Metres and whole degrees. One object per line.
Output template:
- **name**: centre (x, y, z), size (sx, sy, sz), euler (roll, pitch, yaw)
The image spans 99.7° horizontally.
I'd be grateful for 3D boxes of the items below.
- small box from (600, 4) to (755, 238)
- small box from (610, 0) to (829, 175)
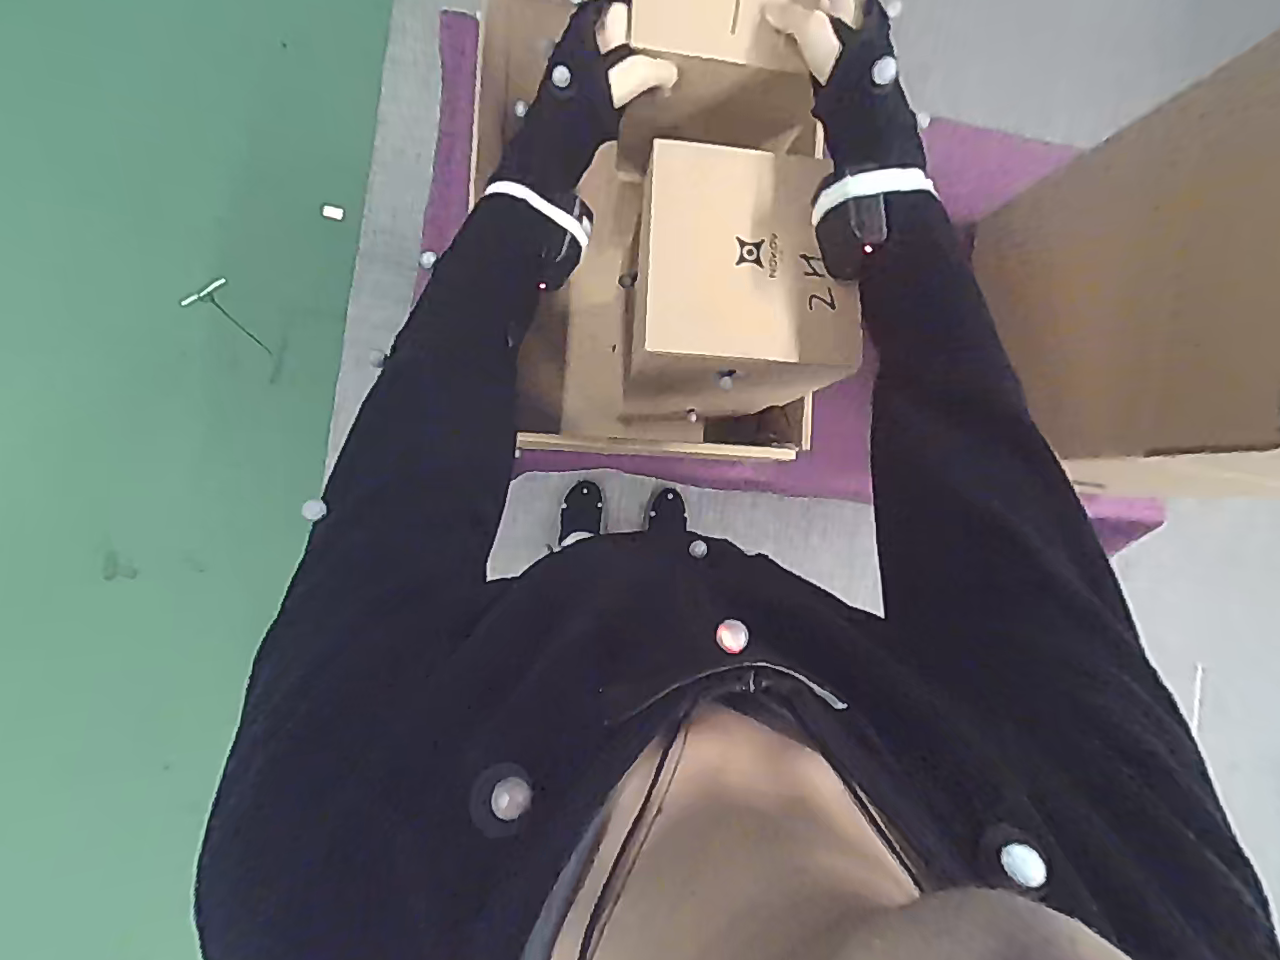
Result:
- **small box**: centre (0.039, -0.417, 0.660), size (0.168, 0.176, 0.179), euler (0, 91, -7)
- **small box**: centre (0.062, -0.420, 0.497), size (0.168, 0.176, 0.179), euler (4, 91, -6)
